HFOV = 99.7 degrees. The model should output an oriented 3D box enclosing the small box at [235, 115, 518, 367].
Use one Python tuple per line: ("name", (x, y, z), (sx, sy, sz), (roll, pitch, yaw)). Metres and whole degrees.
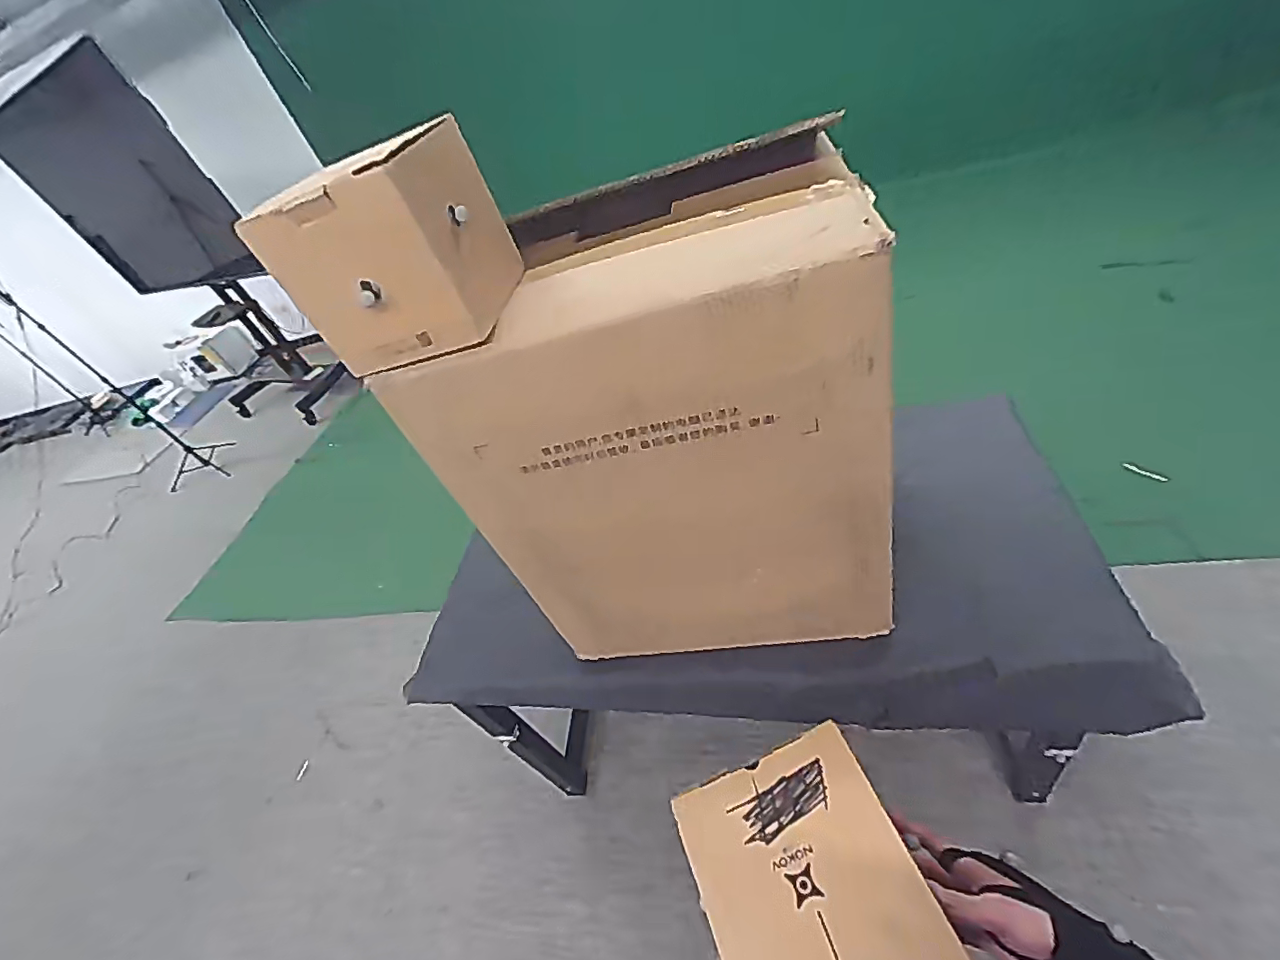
("small box", (-0.249, -0.236, 0.562), (0.168, 0.176, 0.179), (-10, 44, 17))
